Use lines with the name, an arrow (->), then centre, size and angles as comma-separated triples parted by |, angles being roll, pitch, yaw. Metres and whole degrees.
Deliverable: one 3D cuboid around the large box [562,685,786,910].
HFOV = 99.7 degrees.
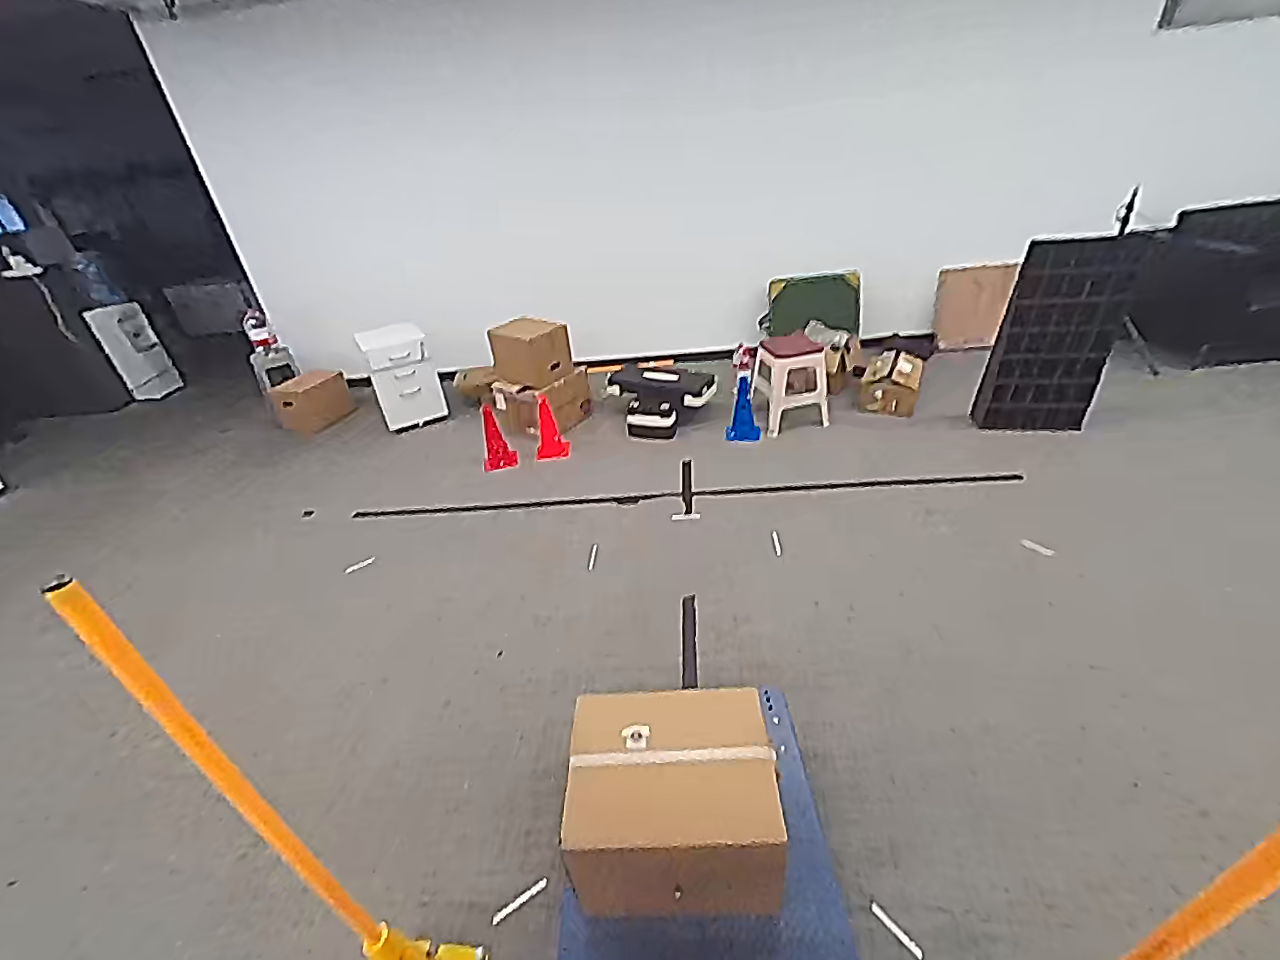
large box -> 0.074, 0.675, 1.156 | 0.408, 0.320, 0.320 | -5, 33, 4
